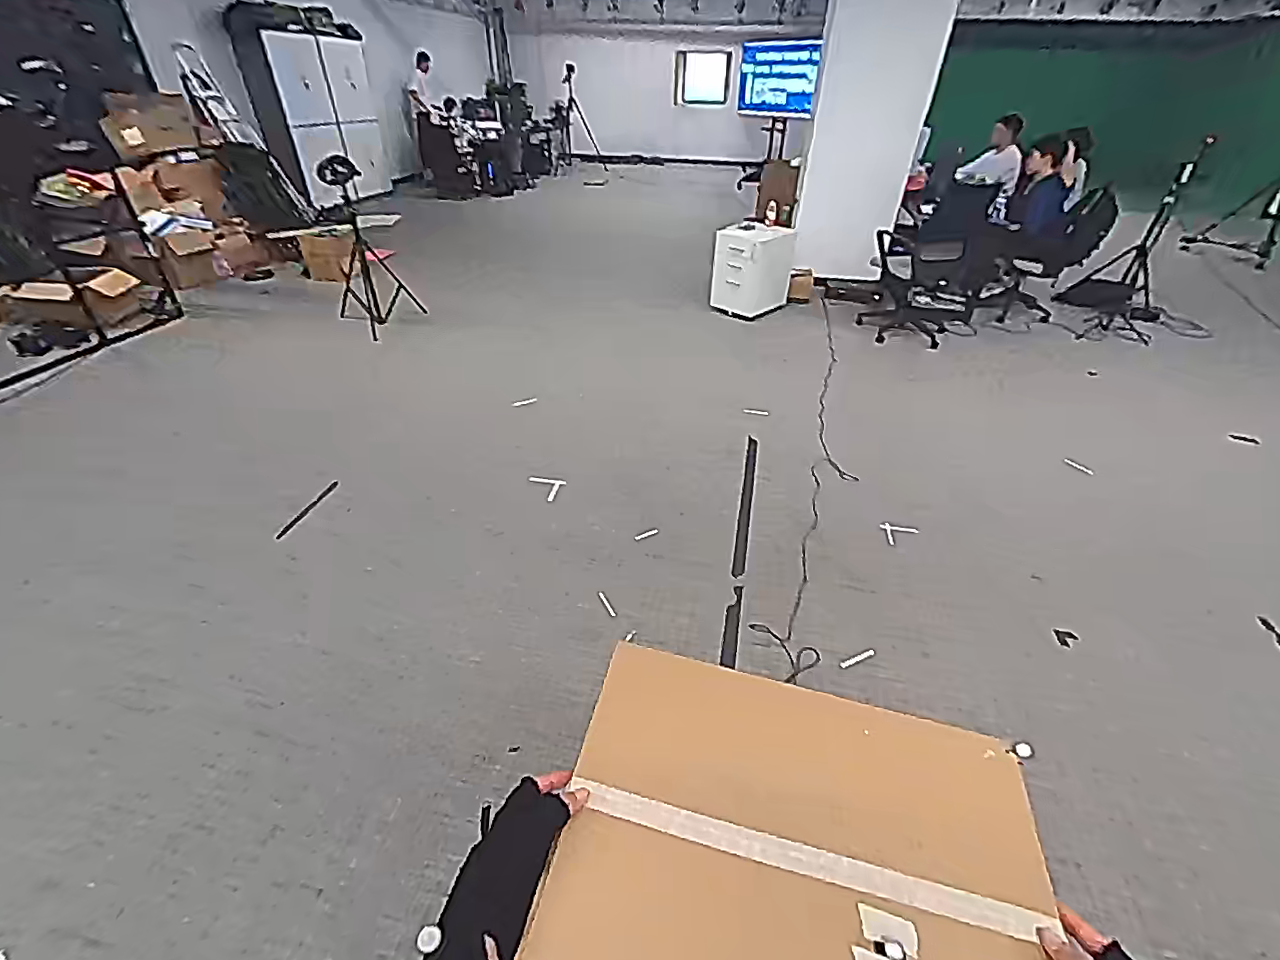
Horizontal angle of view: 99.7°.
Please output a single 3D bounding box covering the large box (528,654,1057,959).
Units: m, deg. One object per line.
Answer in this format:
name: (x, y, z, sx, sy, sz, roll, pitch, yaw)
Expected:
large box: (0.123, 0.436, 0.555, 0.408, 0.320, 0.320, 12, 42, 8)
